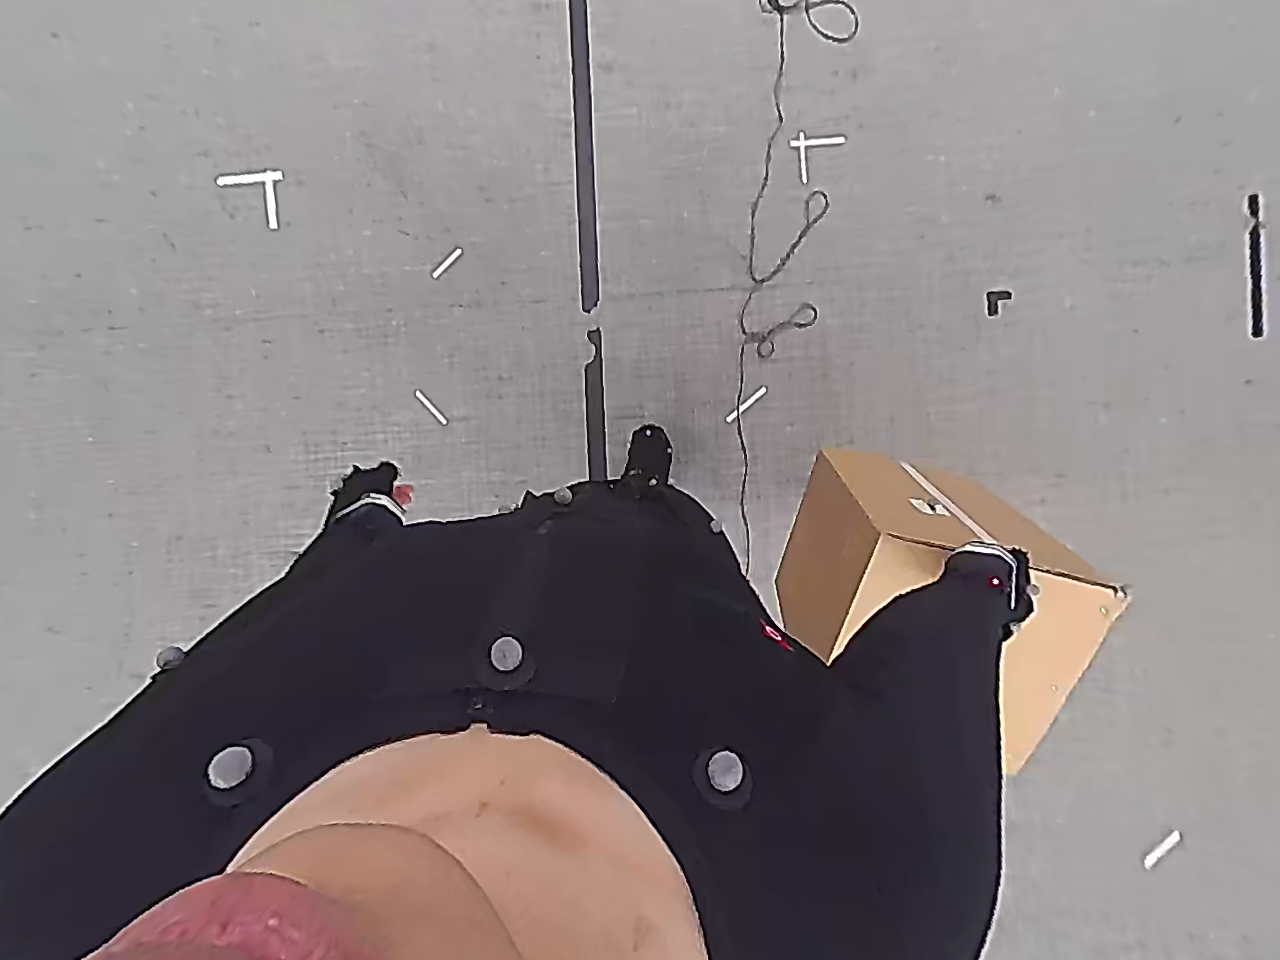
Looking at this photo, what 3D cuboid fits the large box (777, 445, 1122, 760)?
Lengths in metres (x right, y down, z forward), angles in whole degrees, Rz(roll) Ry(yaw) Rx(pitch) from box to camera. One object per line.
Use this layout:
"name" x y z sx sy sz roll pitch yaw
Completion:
"large box" 0.450 0.172 0.921 0.320 0.408 0.320 13 112 2
